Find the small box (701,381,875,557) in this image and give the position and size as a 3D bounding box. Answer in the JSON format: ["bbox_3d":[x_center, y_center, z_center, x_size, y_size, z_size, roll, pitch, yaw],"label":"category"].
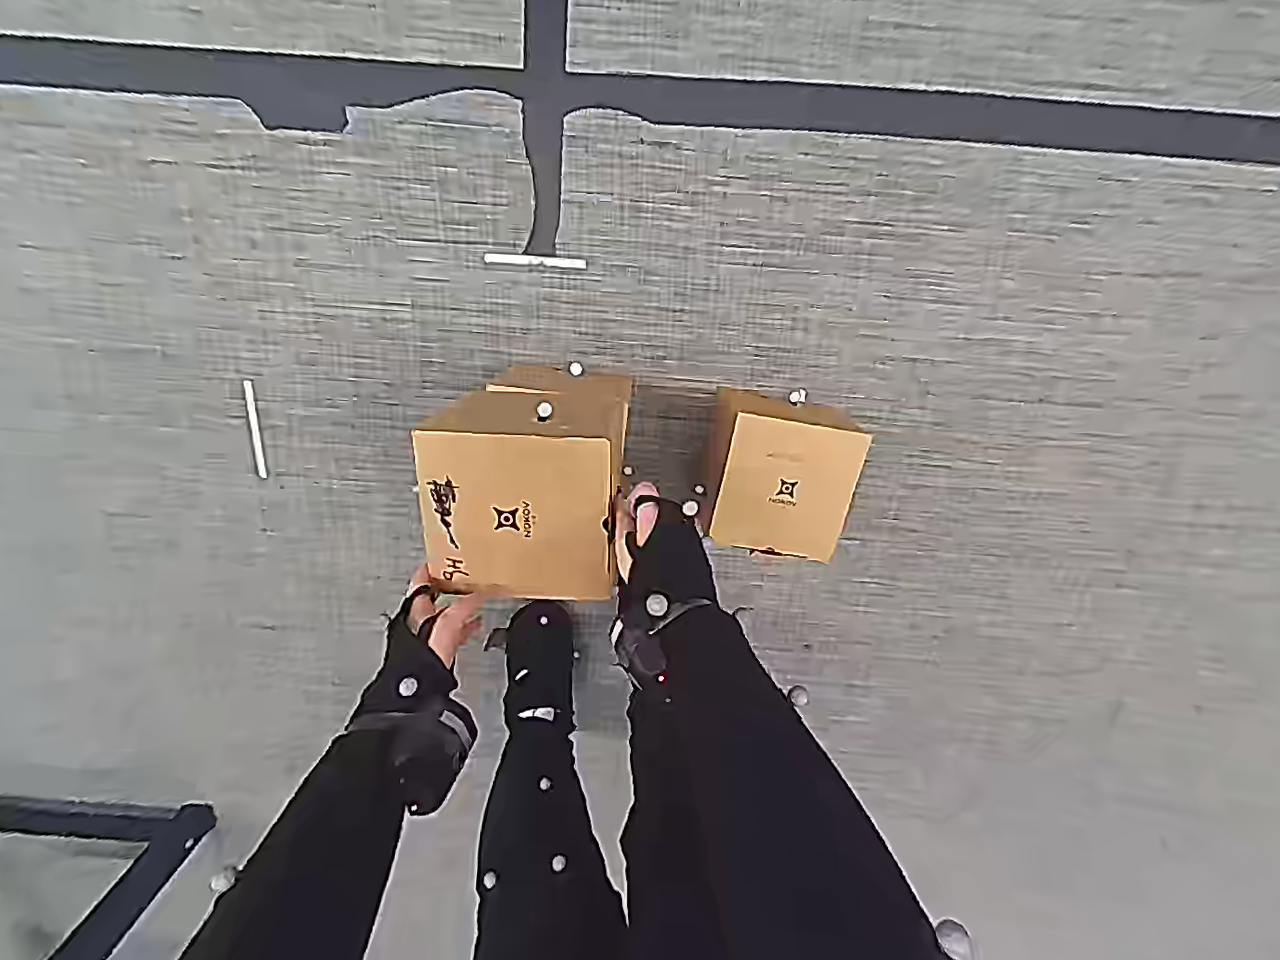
[{"bbox_3d":[0.182,-0.022,0.731,0.168,0.176,0.179,10,110,-4],"label":"small box"}]

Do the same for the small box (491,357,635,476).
[{"bbox_3d":[-0.098,-0.056,0.718,0.168,0.176,0.179,7,110,-3],"label":"small box"}]

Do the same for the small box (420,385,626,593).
[{"bbox_3d":[-0.105,0.000,0.562,0.179,0.176,0.168,3,111,0],"label":"small box"}]
